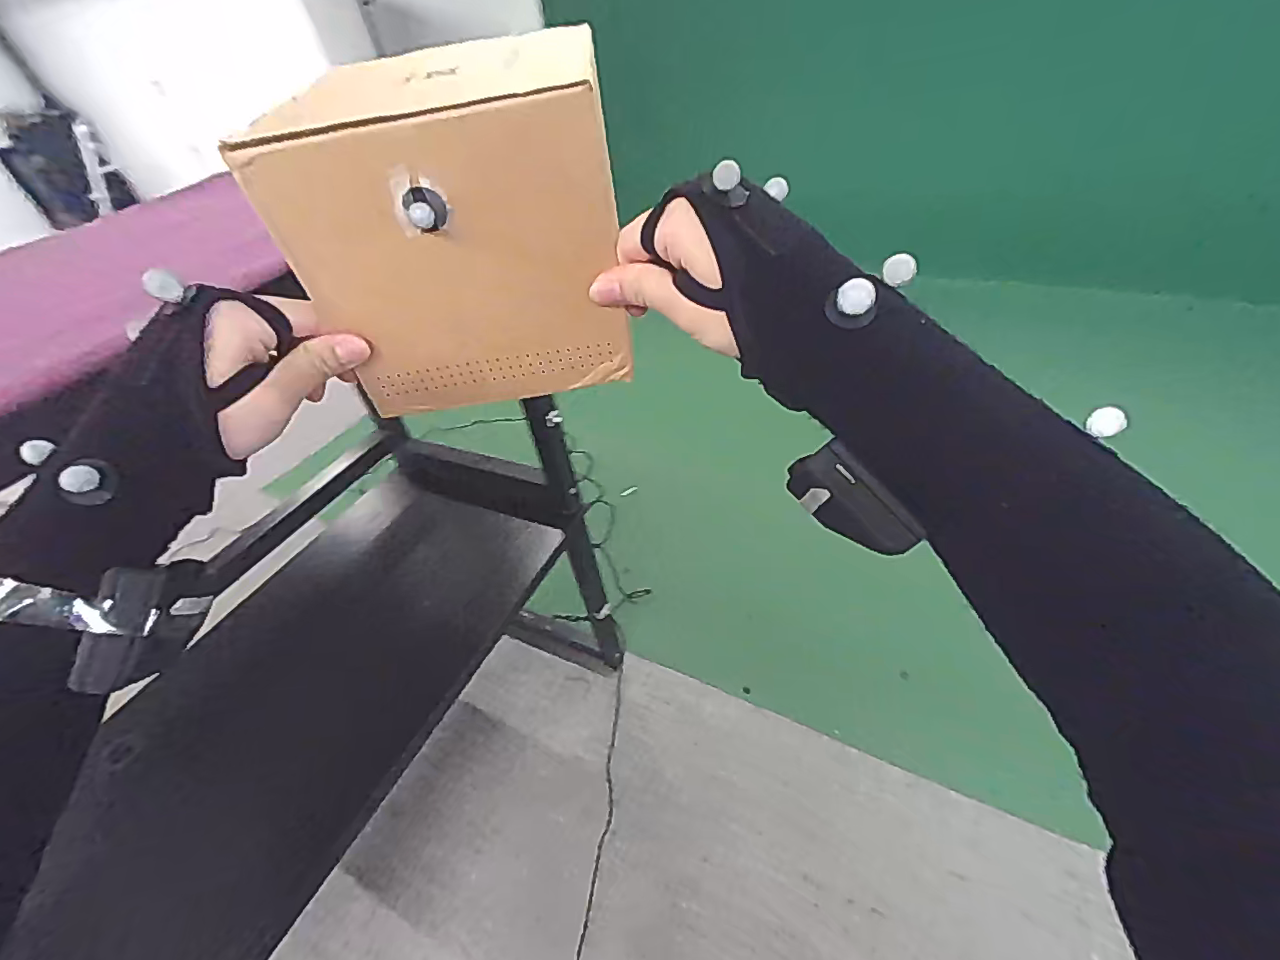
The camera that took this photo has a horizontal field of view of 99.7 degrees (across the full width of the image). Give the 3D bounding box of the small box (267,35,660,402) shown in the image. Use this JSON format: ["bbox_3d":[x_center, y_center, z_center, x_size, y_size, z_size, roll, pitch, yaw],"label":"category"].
[{"bbox_3d":[-0.087,-0.169,0.364,0.179,0.176,0.168,-7,46,3],"label":"small box"}]
